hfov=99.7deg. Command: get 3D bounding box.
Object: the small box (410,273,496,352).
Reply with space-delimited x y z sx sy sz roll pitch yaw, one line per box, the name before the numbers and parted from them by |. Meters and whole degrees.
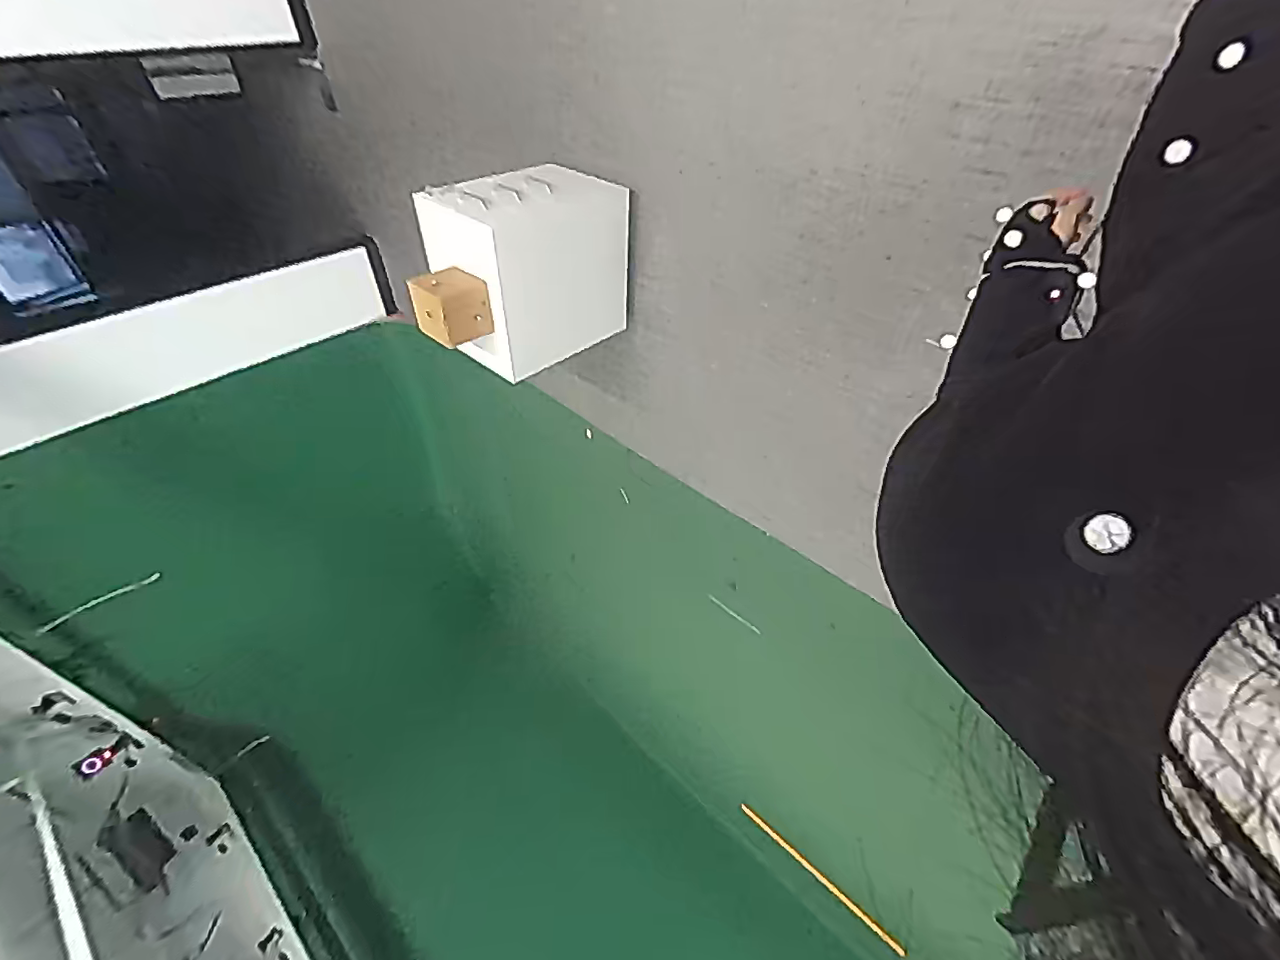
small box | -0.572 -0.523 1.668 0.179 0.176 0.168 32 140 29
